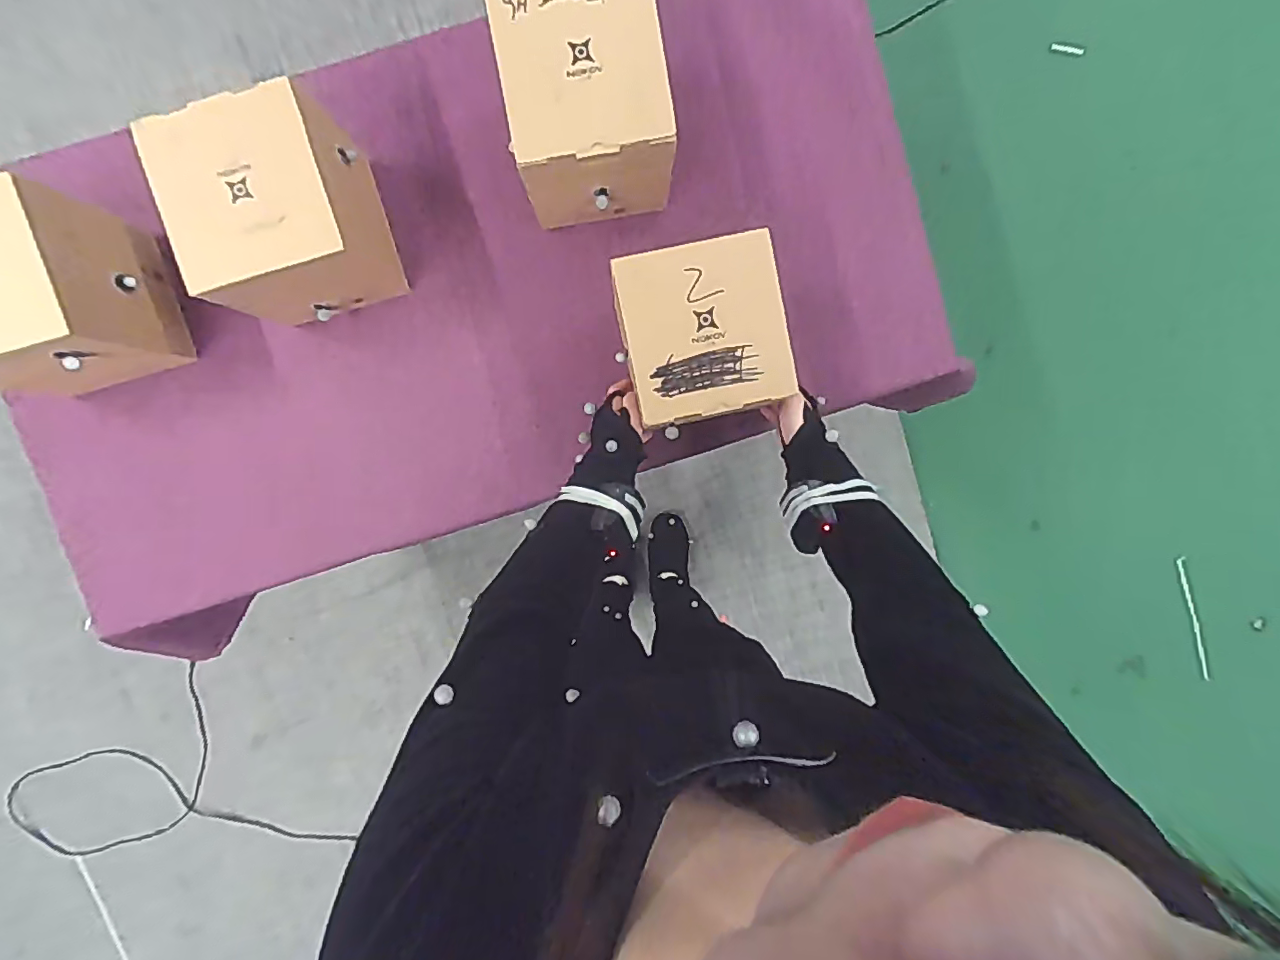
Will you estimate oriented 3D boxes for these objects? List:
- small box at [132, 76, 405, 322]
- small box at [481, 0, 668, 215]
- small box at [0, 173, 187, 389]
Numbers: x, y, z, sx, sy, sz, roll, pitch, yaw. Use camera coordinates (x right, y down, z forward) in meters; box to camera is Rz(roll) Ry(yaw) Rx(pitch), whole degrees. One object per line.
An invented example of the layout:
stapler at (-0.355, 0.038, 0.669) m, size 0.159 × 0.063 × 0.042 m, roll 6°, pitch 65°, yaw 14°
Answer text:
small box at (-0.401, -0.301, 0.618) m, size 0.168 × 0.176 × 0.179 m, roll -16°, pitch 95°, yaw 1°
small box at (-0.064, -0.422, 0.613) m, size 0.168 × 0.176 × 0.179 m, roll -10°, pitch 95°, yaw 0°
small box at (-0.674, -0.209, 0.618) m, size 0.179 × 0.176 × 0.168 m, roll -16°, pitch 94°, yaw 0°
